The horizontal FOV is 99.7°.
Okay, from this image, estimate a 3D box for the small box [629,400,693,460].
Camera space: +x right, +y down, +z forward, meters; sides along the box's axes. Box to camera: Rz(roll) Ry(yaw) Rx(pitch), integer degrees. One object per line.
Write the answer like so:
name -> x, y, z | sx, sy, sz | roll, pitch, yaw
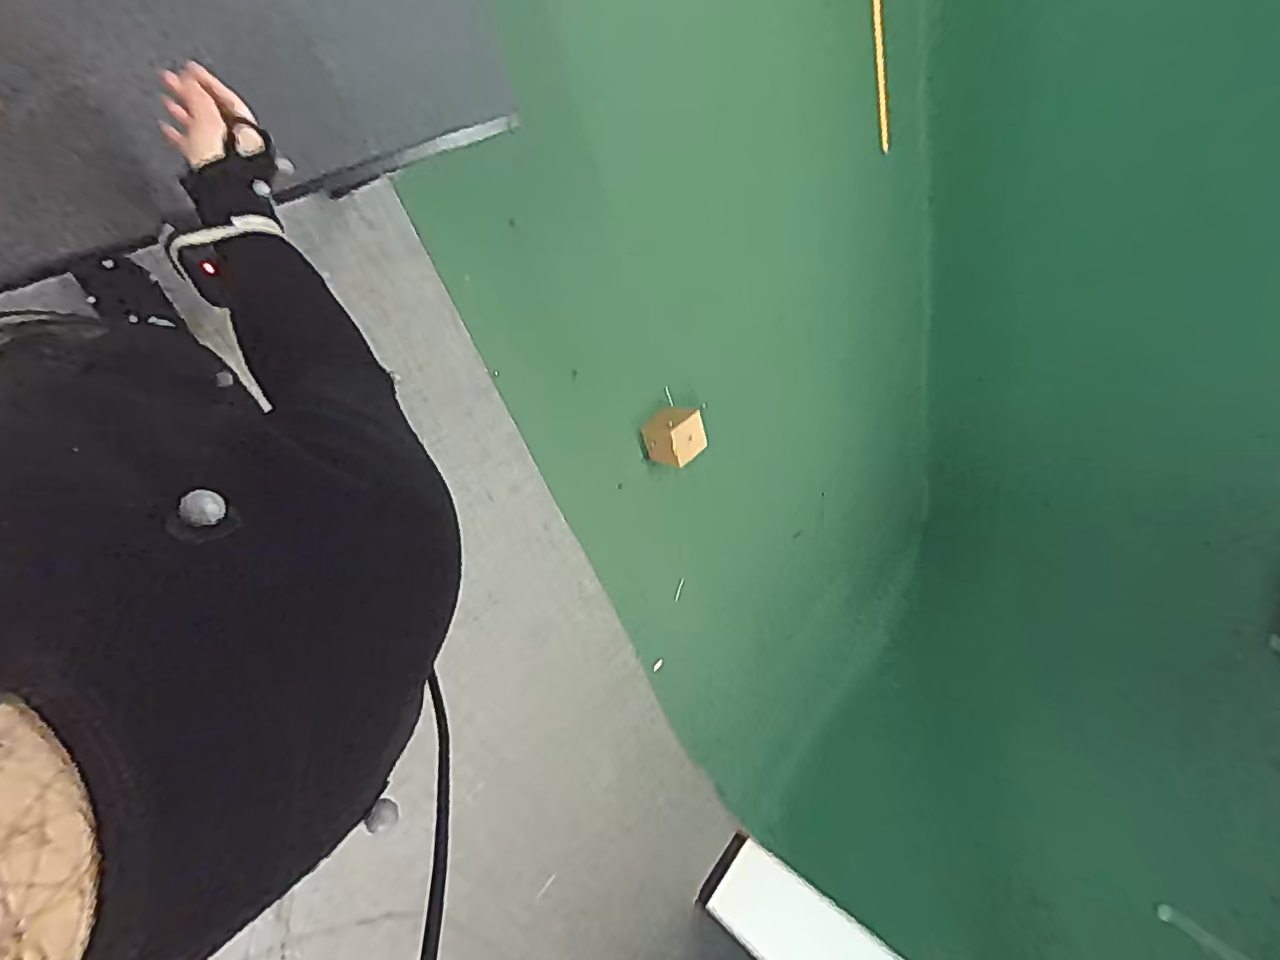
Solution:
small box -> 0.085, -0.206, 2.167 | 0.179, 0.176, 0.168 | -39, 129, -30
